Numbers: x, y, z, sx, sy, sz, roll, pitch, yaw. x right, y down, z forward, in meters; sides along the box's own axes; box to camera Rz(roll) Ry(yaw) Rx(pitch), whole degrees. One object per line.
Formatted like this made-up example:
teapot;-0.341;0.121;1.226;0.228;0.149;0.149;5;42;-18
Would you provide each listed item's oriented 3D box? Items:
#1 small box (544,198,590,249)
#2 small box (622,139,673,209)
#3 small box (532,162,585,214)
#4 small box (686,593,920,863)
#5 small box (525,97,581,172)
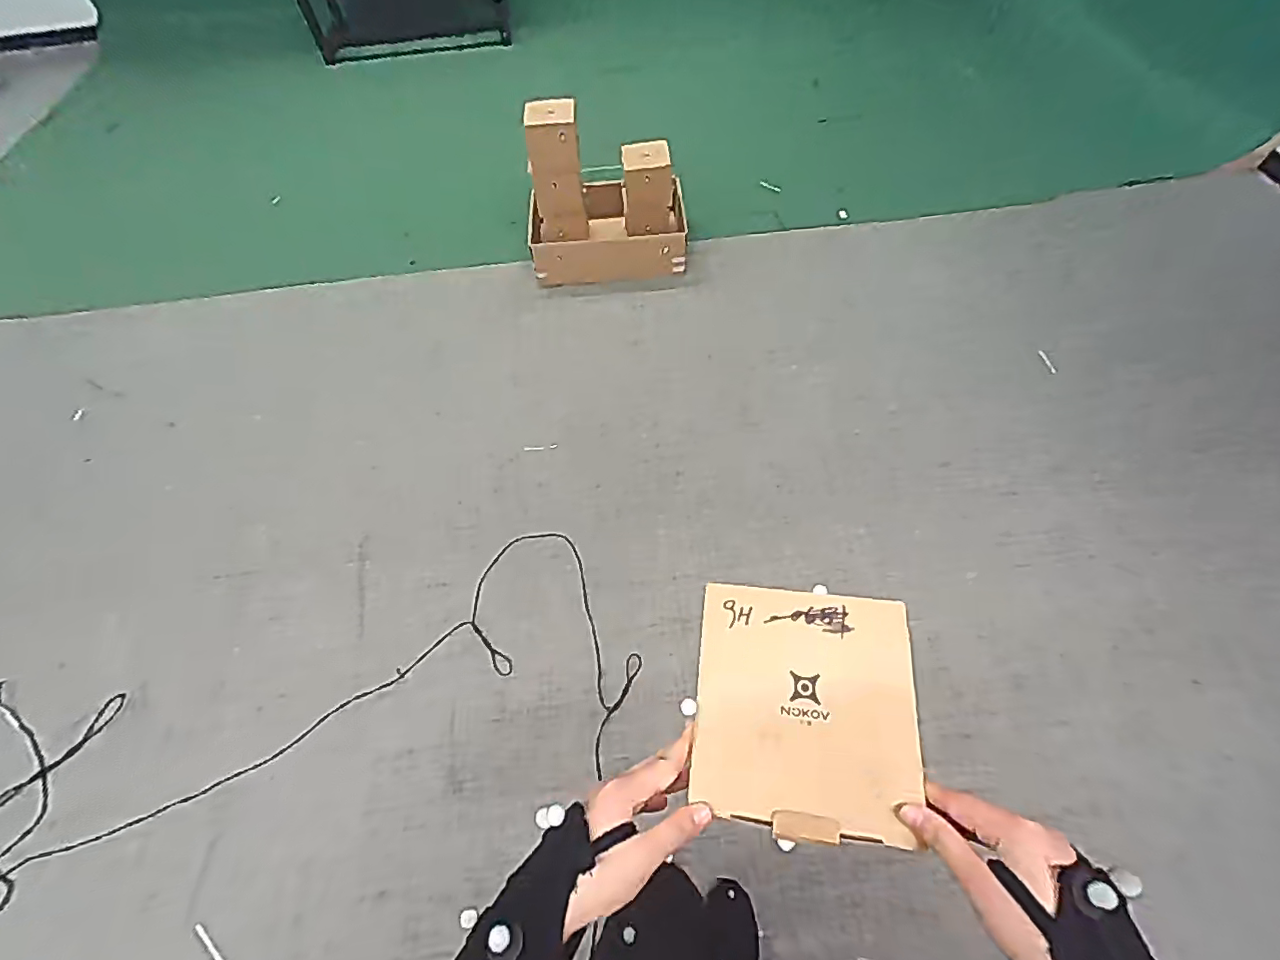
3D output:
small box;-0.296;-1.067;2.211;0.168;0.176;0.179;-5;60;0
small box;0.030;-1.158;2.054;0.179;0.176;0.168;-7;61;1
small box;-0.307;-1.142;2.065;0.179;0.176;0.168;-4;60;-1
small box;0.135;0.219;0.492;0.168;0.176;0.179;4;62;9
small box;-0.304;-1.225;1.922;0.179;0.176;0.168;-5;59;0
